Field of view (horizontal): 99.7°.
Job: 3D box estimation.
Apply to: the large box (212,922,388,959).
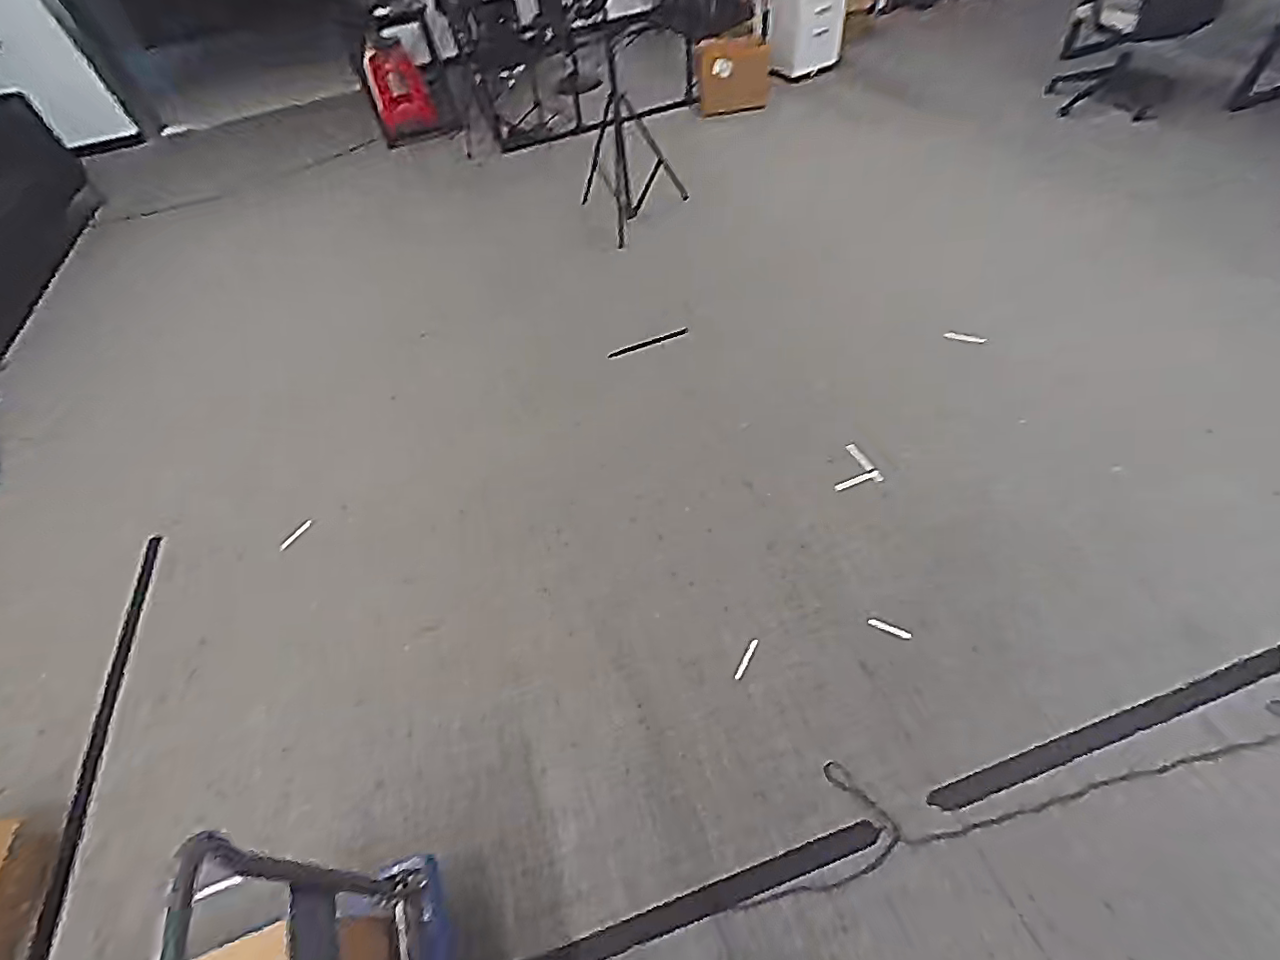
[{"bbox_3d":[-0.578,0.963,0.799,0.320,0.320,0.408,-21,51,-9],"label":"large box"}]
